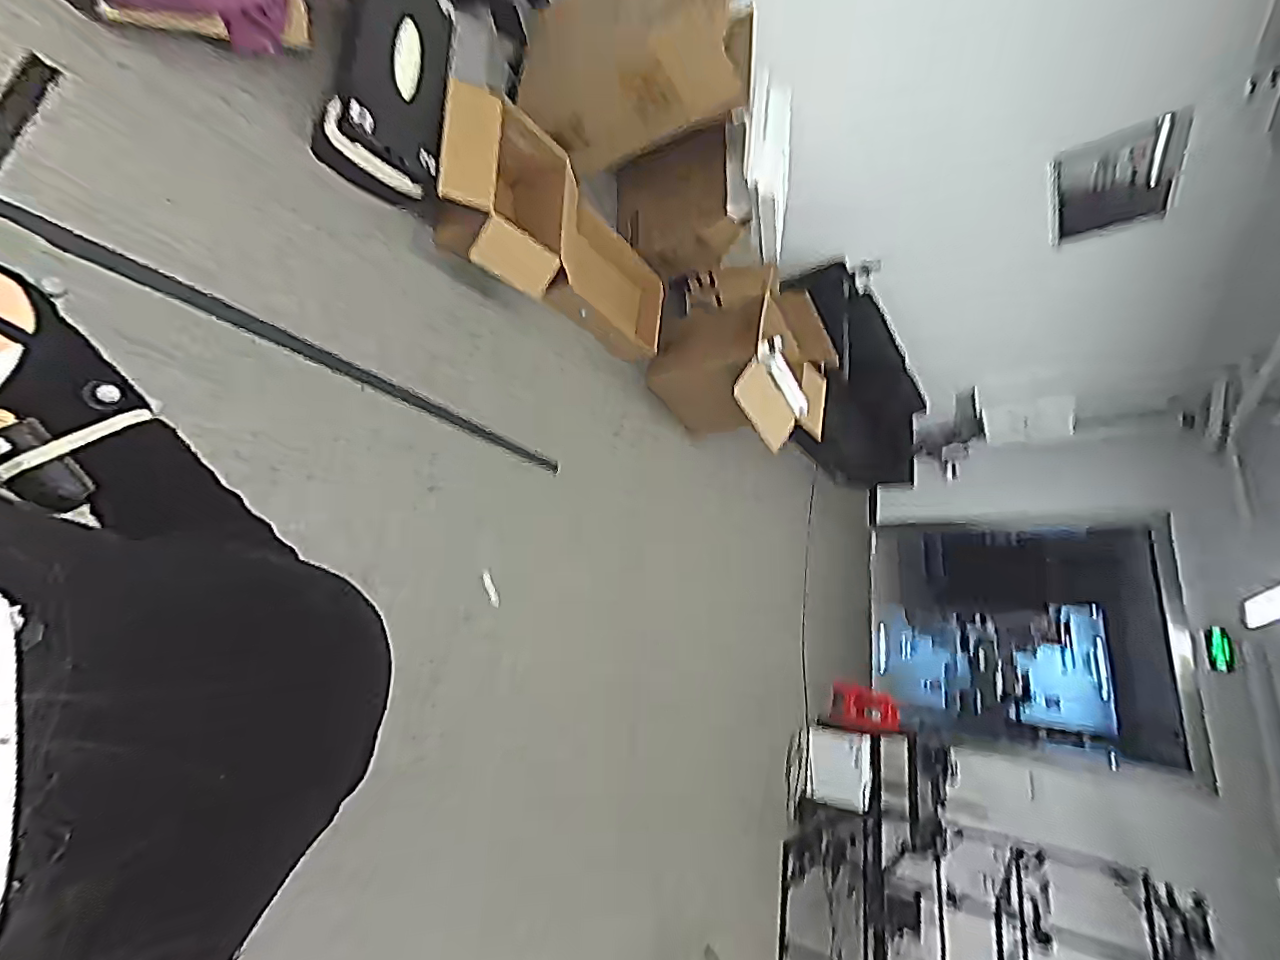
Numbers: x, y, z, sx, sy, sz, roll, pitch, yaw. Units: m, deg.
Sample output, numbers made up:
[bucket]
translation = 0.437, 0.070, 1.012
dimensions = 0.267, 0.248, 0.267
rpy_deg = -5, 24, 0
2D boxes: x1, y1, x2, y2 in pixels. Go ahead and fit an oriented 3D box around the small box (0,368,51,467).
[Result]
[small box]
translation = -1.177, -0.118, 0.918
dimensions = 0.179, 0.176, 0.168
rpy_deg = 34, 60, -49
